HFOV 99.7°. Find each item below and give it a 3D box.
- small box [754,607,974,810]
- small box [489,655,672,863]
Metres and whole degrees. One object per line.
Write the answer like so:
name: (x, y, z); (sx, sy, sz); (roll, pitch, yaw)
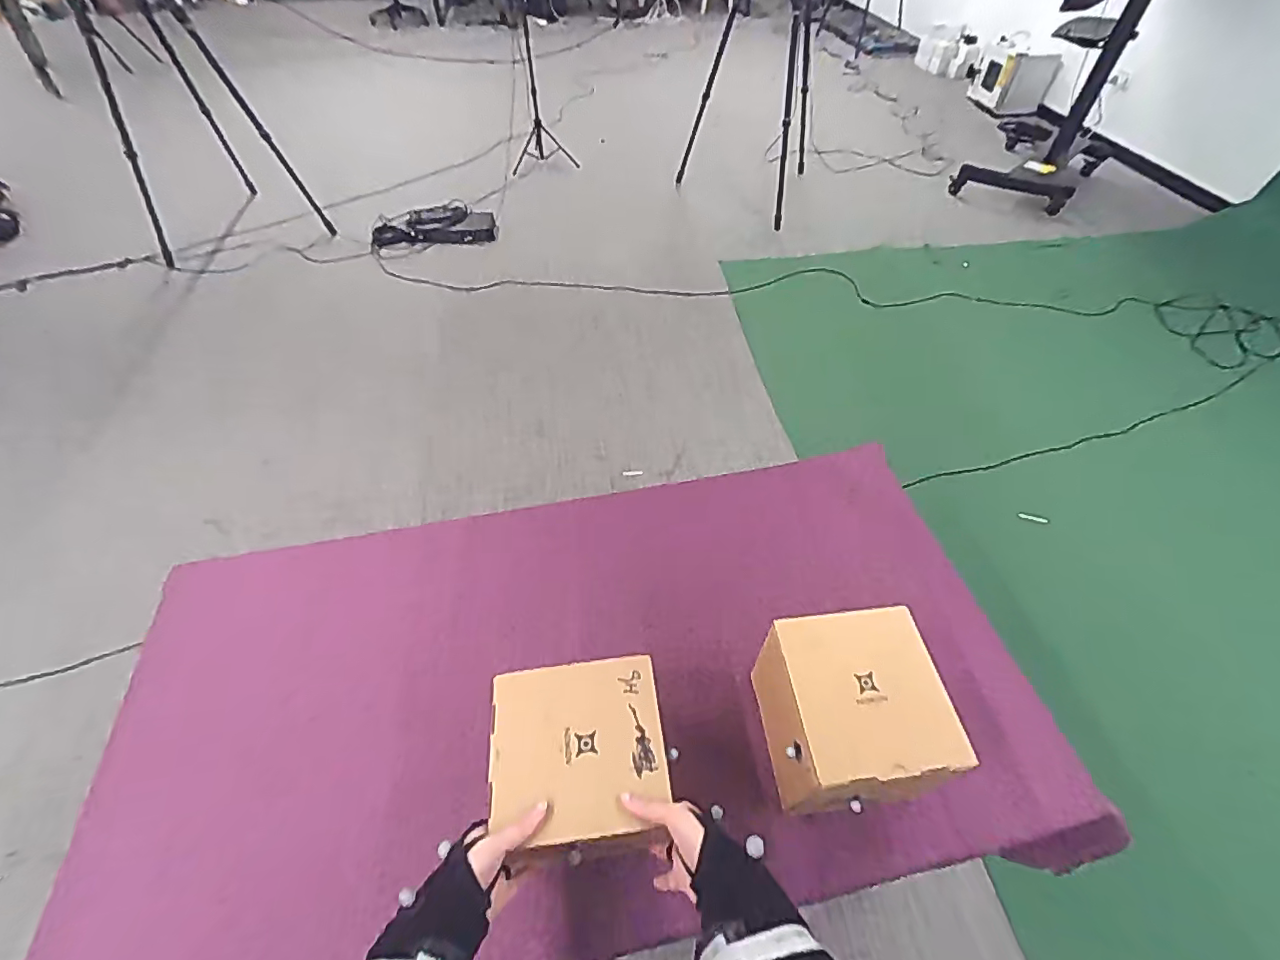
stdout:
small box: (0.246, 0.275, 0.650); (0.168, 0.176, 0.179); (-5, 51, -4)
small box: (-0.061, 0.319, 0.613); (0.179, 0.176, 0.168); (-7, 51, -4)
